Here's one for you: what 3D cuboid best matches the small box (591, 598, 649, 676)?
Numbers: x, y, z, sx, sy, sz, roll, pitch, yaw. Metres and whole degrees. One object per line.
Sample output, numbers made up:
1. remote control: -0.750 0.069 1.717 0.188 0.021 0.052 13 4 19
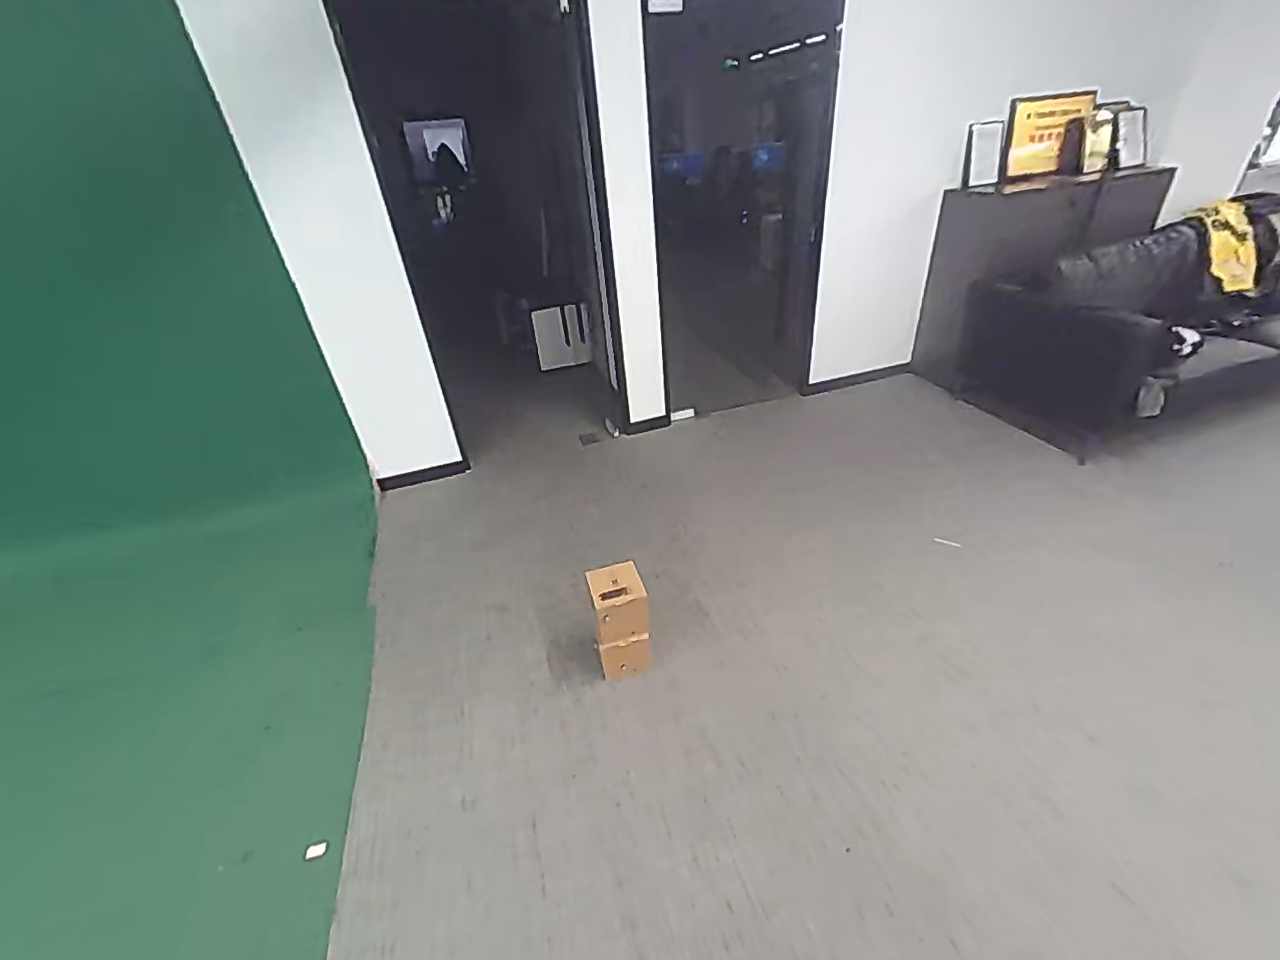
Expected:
1. small box: -0.069 0.537 1.851 0.168 0.176 0.179 -10 34 -8
